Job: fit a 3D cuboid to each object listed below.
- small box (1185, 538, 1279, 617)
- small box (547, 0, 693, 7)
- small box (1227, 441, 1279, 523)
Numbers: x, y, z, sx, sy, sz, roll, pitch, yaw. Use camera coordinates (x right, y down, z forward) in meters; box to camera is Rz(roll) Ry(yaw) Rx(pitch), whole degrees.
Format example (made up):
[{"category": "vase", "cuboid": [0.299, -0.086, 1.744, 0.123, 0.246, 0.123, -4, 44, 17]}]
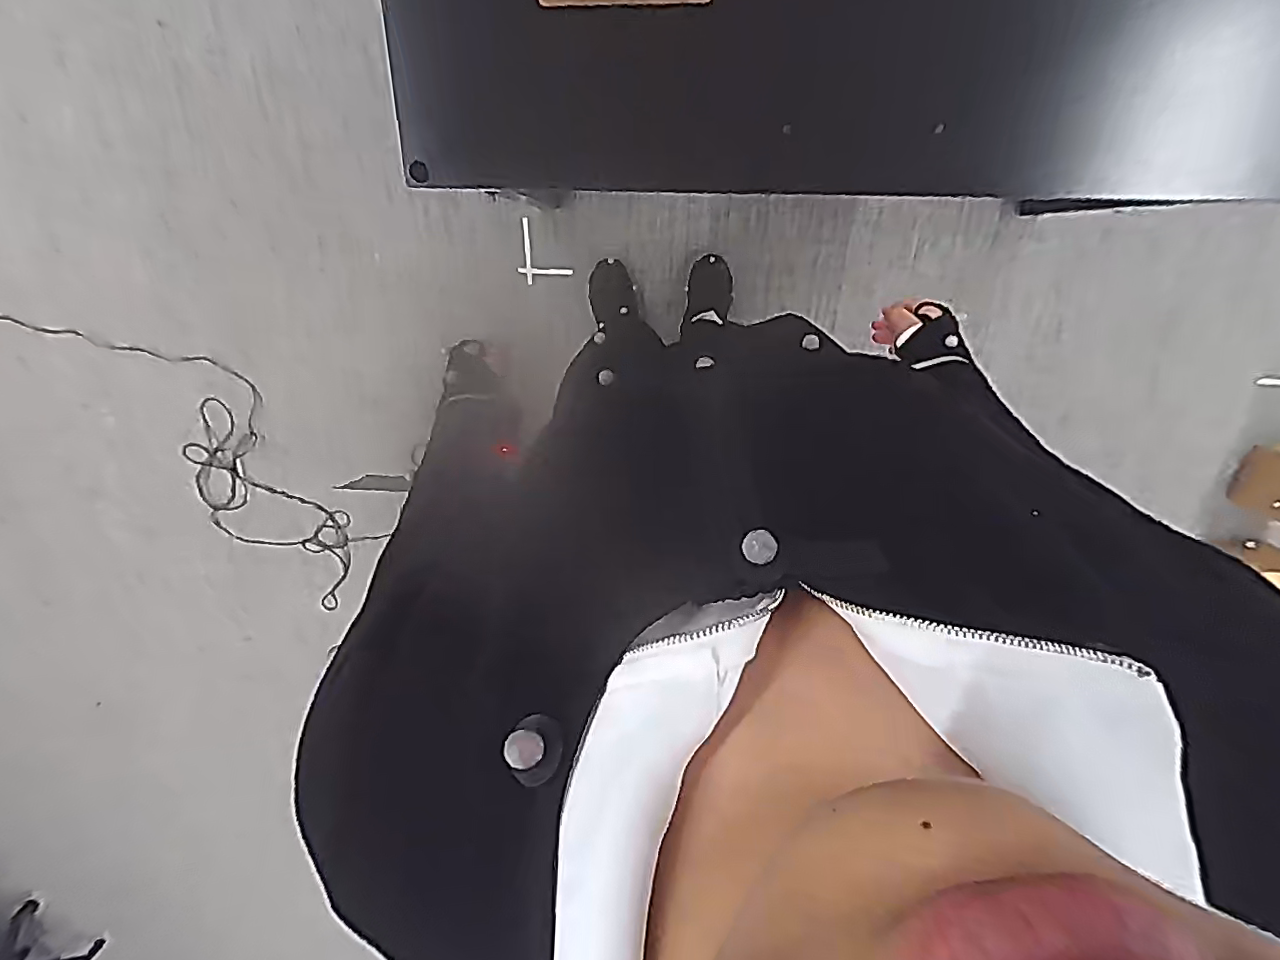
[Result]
[{"category": "small box", "cuboid": [1.771, 0.280, 1.578, 0.179, 0.176, 0.168, -1, 114, 2]}, {"category": "small box", "cuboid": [-0.017, -0.535, 0.457, 0.179, 0.176, 0.168, -1, 113, 0]}, {"category": "small box", "cuboid": [1.766, 0.008, 1.455, 0.168, 0.176, 0.179, 3, 114, 0]}]
